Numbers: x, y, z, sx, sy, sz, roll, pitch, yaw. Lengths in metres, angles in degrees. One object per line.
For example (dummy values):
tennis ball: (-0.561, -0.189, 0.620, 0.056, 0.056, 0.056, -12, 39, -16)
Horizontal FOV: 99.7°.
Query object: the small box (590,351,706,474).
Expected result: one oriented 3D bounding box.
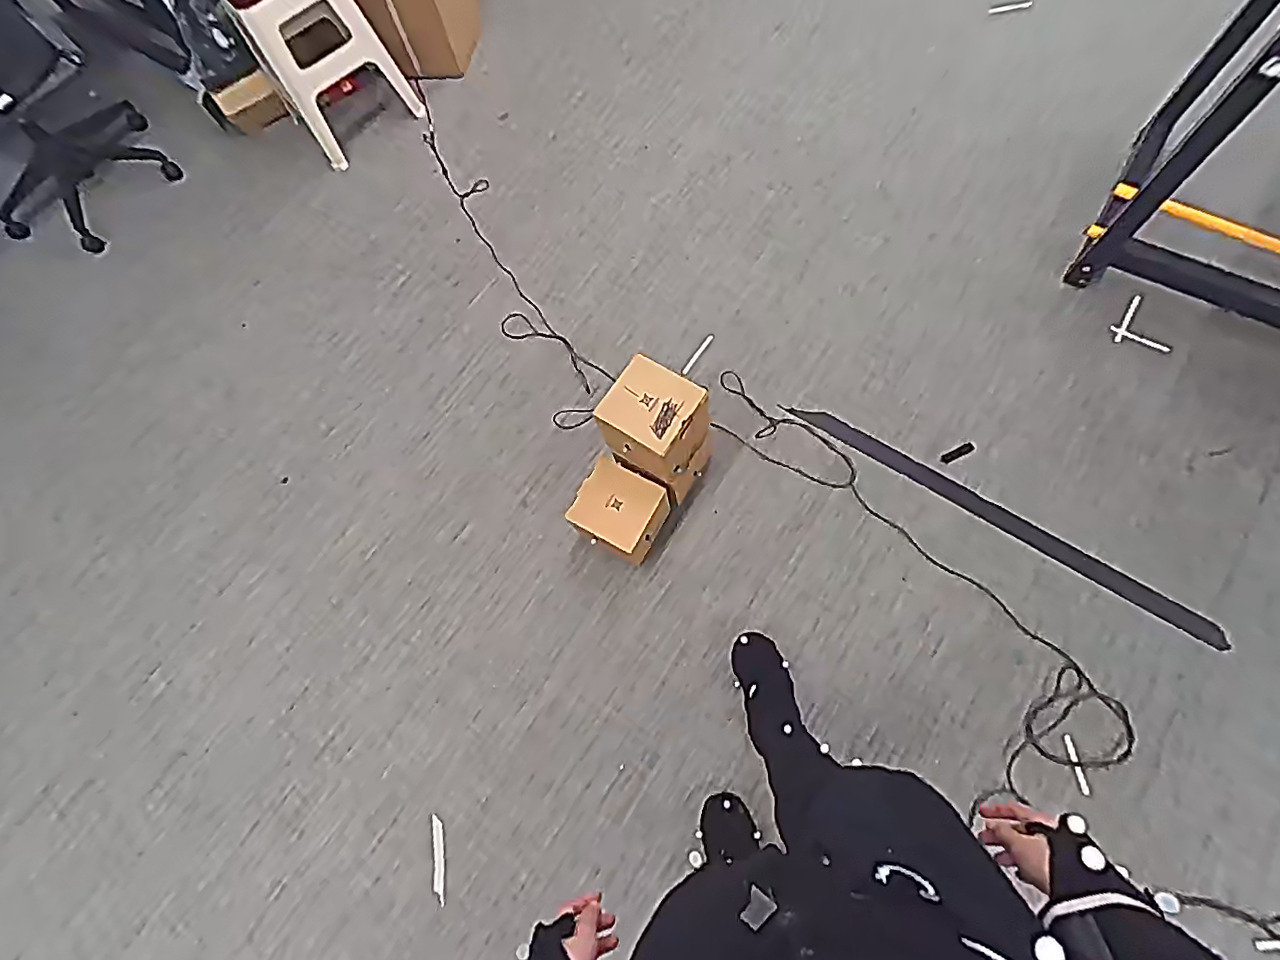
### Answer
small box: (0.026, -0.131, 1.140, 0.179, 0.176, 0.168, 32, 78, 17)
